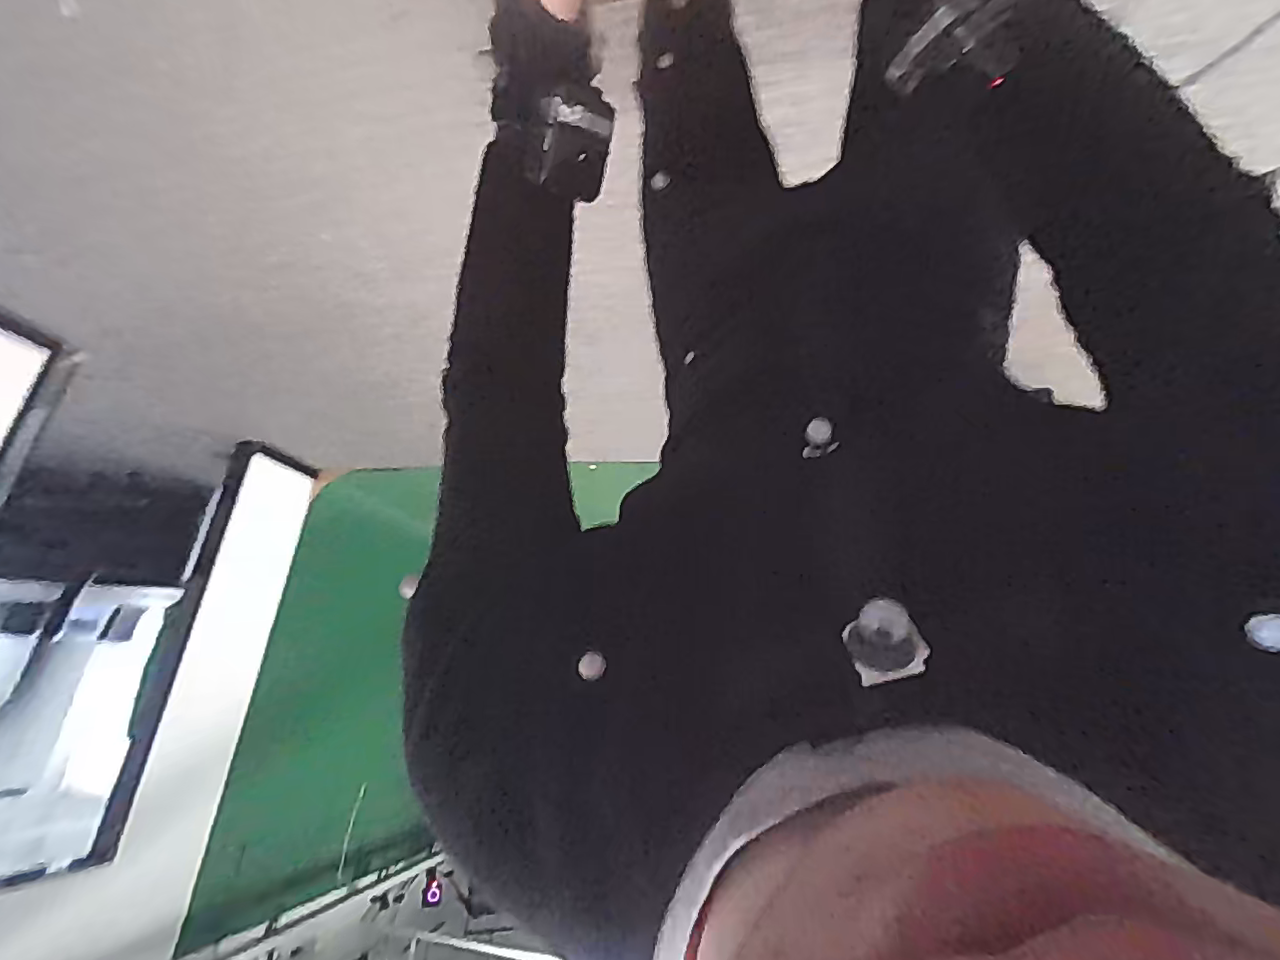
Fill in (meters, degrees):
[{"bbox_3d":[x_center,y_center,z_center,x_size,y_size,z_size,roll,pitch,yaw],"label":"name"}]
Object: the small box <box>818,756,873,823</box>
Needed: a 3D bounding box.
[{"bbox_3d":[0.700,1.046,1.843,0.168,0.176,0.179,-3,159,22],"label":"small box"}]
